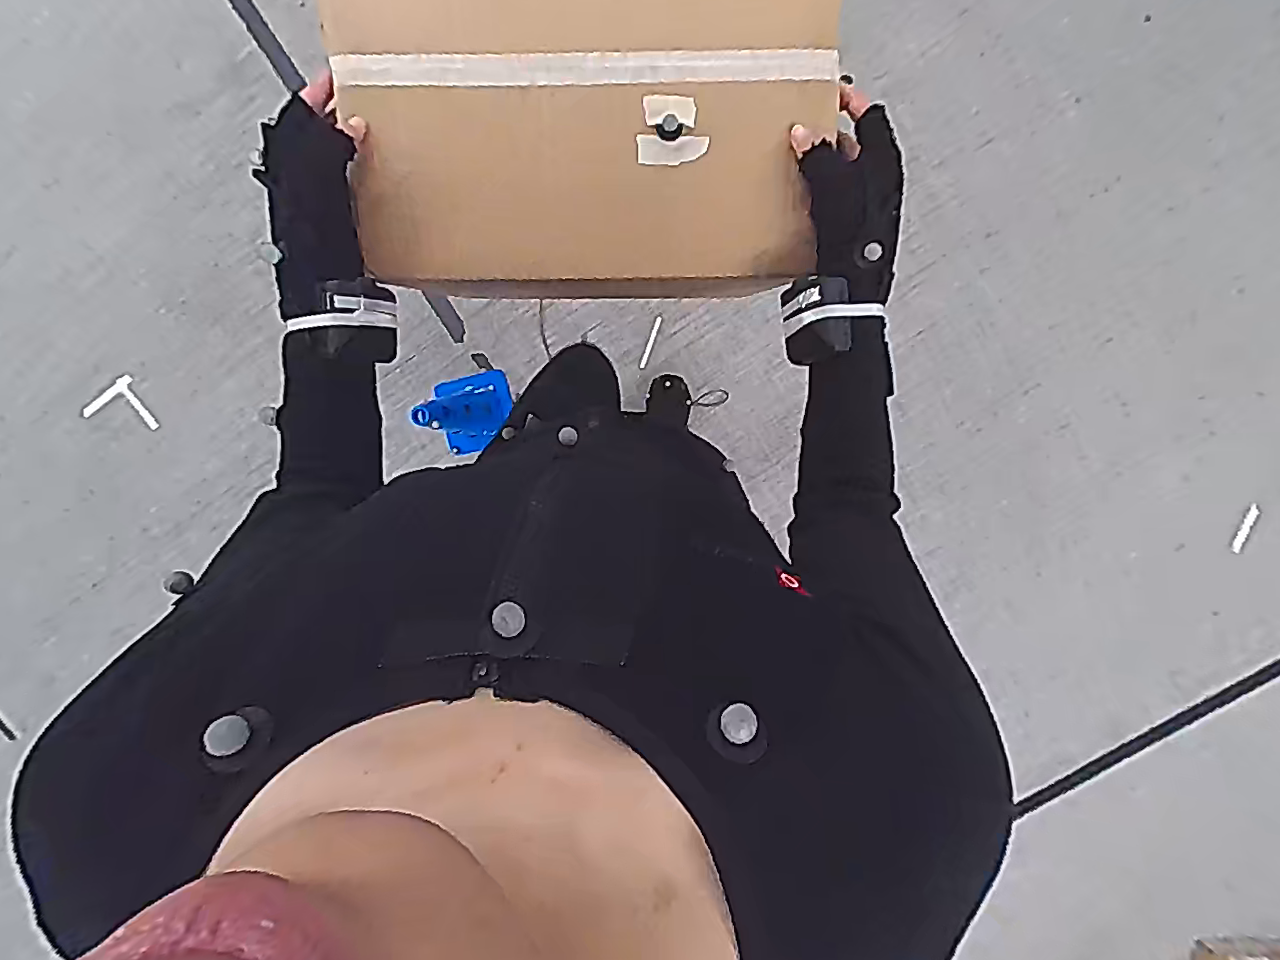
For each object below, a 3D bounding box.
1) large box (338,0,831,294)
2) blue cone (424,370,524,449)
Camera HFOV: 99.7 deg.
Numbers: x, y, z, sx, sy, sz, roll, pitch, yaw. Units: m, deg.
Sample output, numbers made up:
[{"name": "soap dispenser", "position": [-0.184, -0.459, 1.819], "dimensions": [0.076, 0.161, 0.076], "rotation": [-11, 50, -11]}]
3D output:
[{"name": "large box", "position": [-0.047, -0.381, 0.588], "dimensions": [0.408, 0.320, 0.320], "rotation": [-1, 106, -1]}, {"name": "blue cone", "position": [-0.430, -0.166, 1.306], "dimensions": [0.193, 0.380, 0.192], "rotation": [-11, 99, 4]}]
